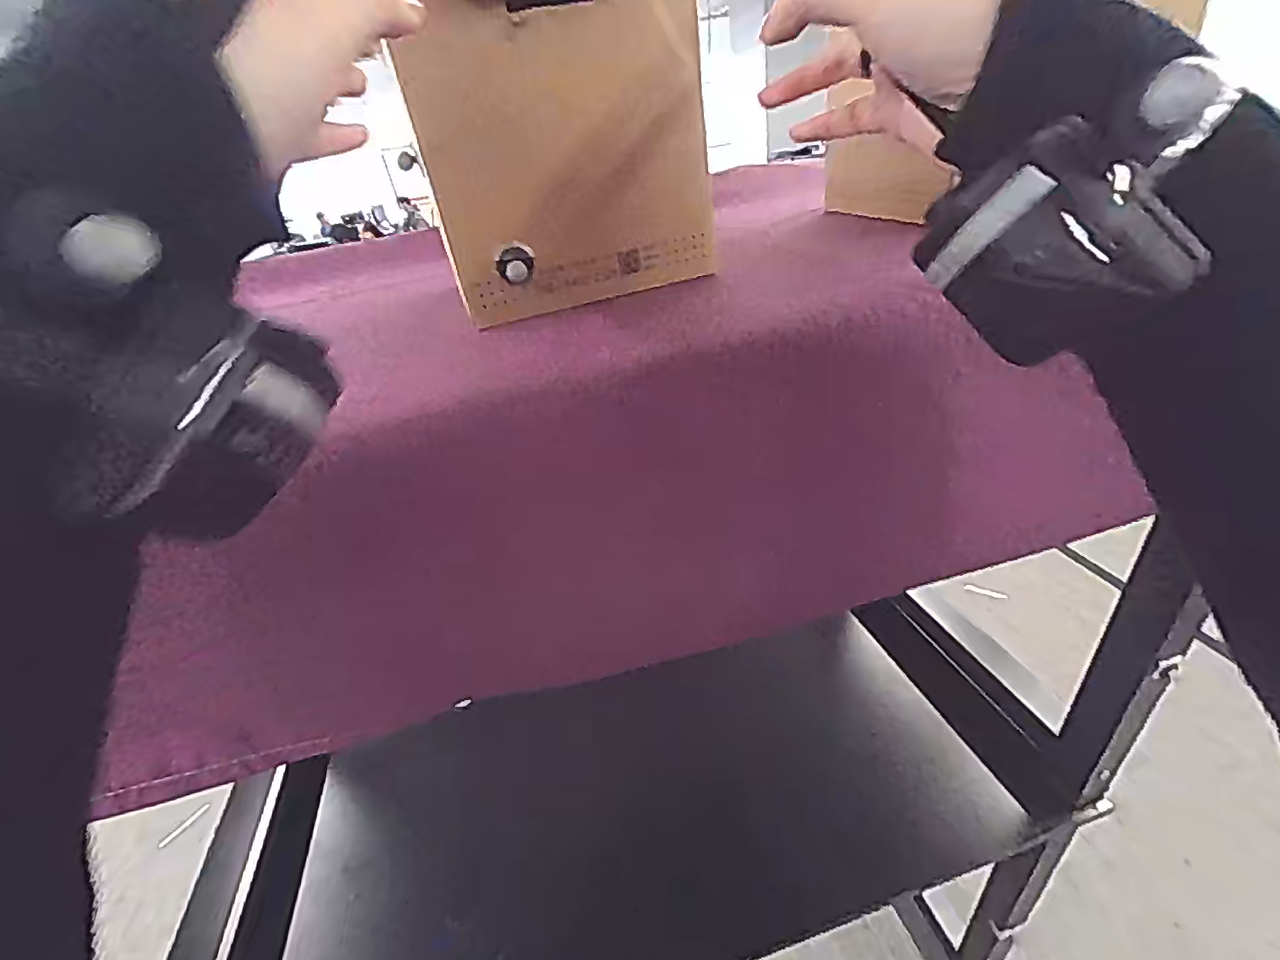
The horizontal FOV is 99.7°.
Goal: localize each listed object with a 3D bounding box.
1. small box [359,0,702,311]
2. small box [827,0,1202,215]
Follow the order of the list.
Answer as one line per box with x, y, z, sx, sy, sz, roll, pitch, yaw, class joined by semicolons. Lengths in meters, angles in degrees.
-0.068;-0.224;0.367;0.168;0.176;0.179;-18;32;-13;small box
0.252;-0.303;0.401;0.168;0.176;0.179;-14;32;-5;small box
